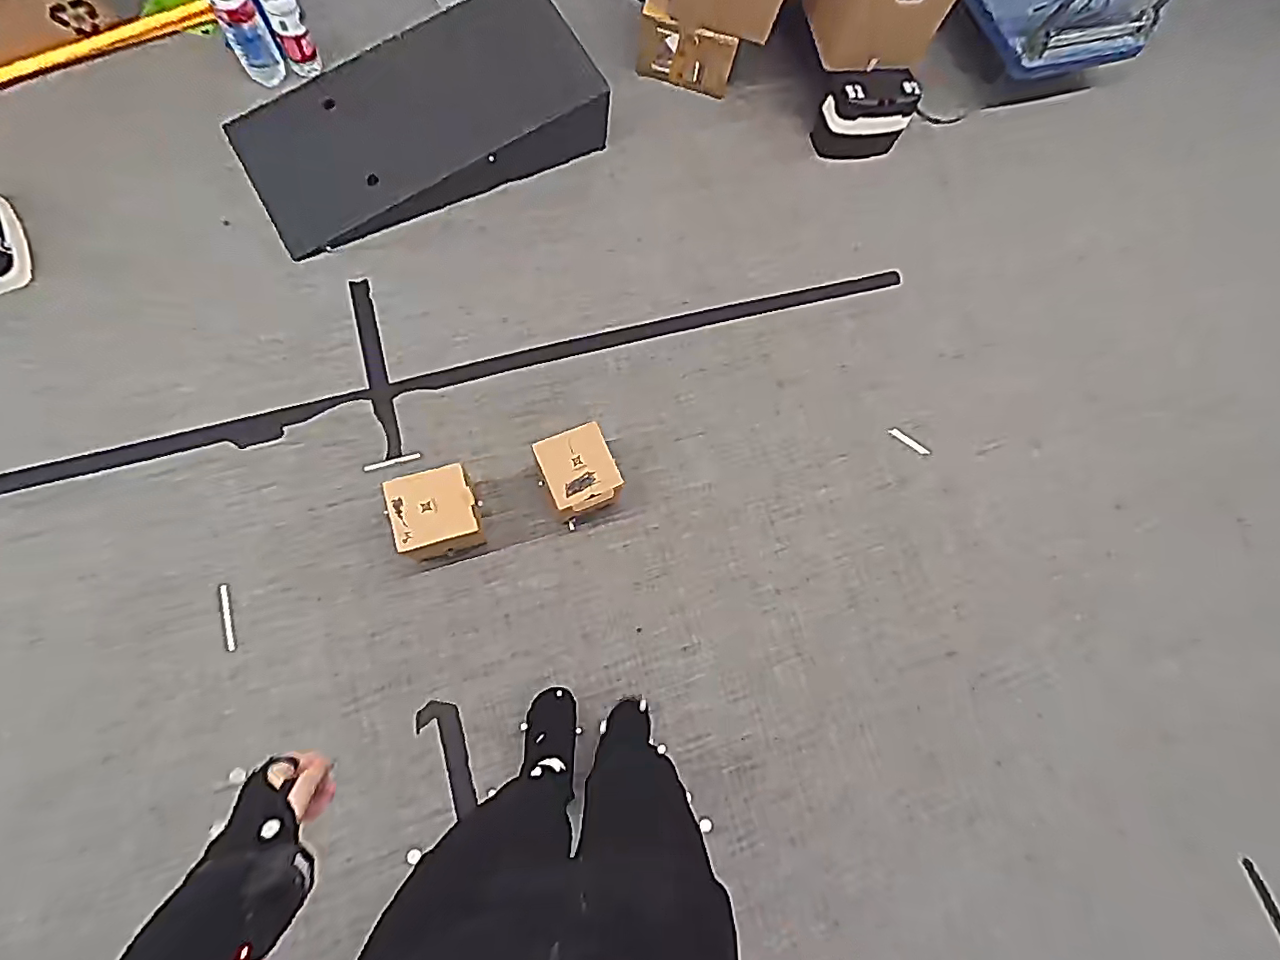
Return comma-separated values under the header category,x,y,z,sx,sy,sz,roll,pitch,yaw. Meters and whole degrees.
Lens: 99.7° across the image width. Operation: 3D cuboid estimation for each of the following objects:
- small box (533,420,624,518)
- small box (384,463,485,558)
category,x,y,z,sx,sy,sz,roll,pitch,yaw
small box,-0.151,-0.017,1.325,0.168,0.176,0.179,-22,79,-13
small box,-0.467,0.075,1.255,0.179,0.176,0.168,-15,78,-12
